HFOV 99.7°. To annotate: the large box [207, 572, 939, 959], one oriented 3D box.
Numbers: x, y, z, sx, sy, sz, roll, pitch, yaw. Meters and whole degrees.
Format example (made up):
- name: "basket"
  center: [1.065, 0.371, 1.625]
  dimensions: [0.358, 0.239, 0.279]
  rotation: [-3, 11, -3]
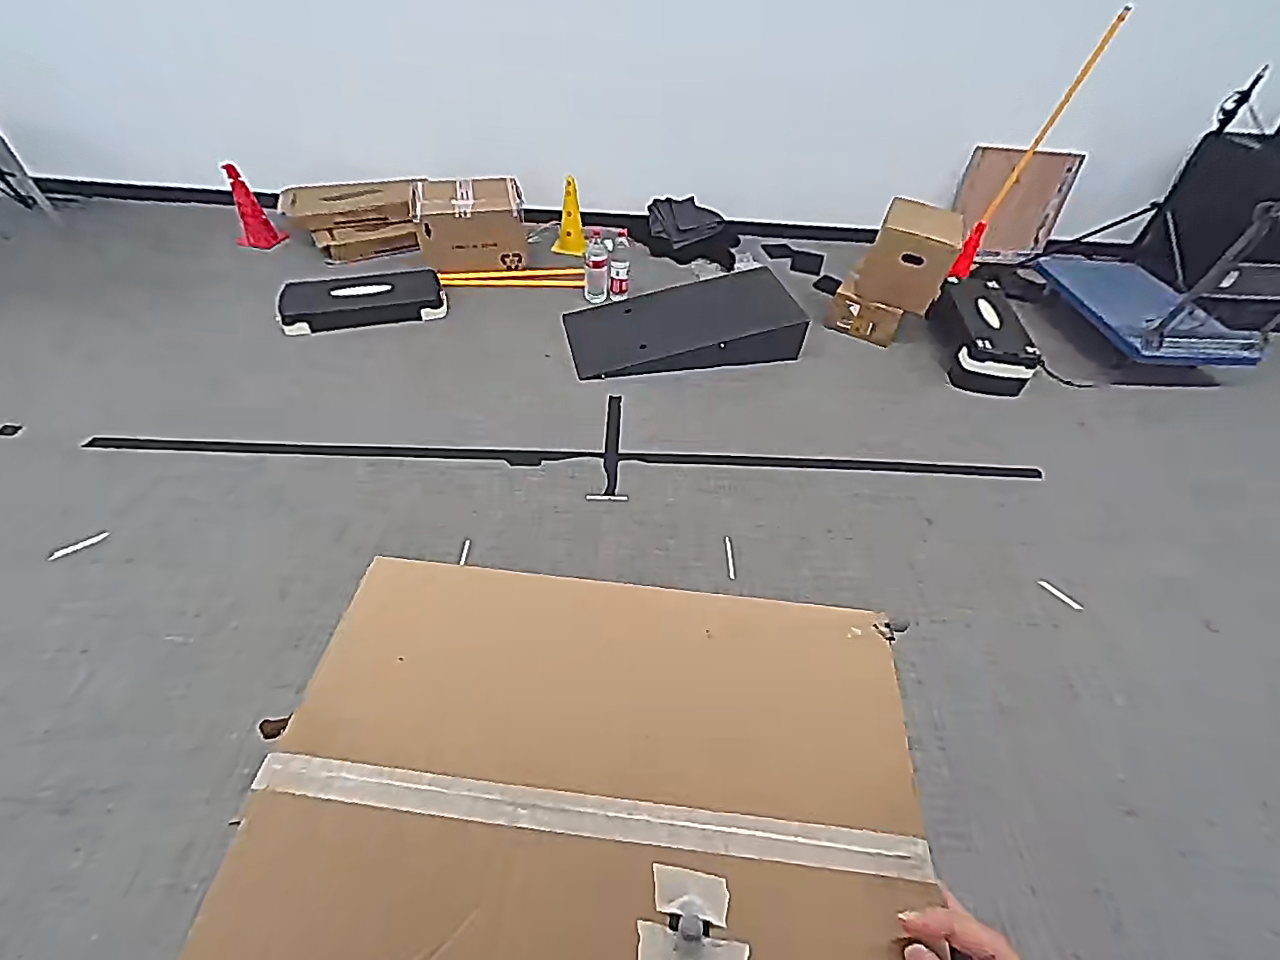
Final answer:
- name: "large box"
  center: [-0.031, 0.302, 0.452]
  dimensions: [0.408, 0.320, 0.320]
  rotation: [6, 52, 3]
